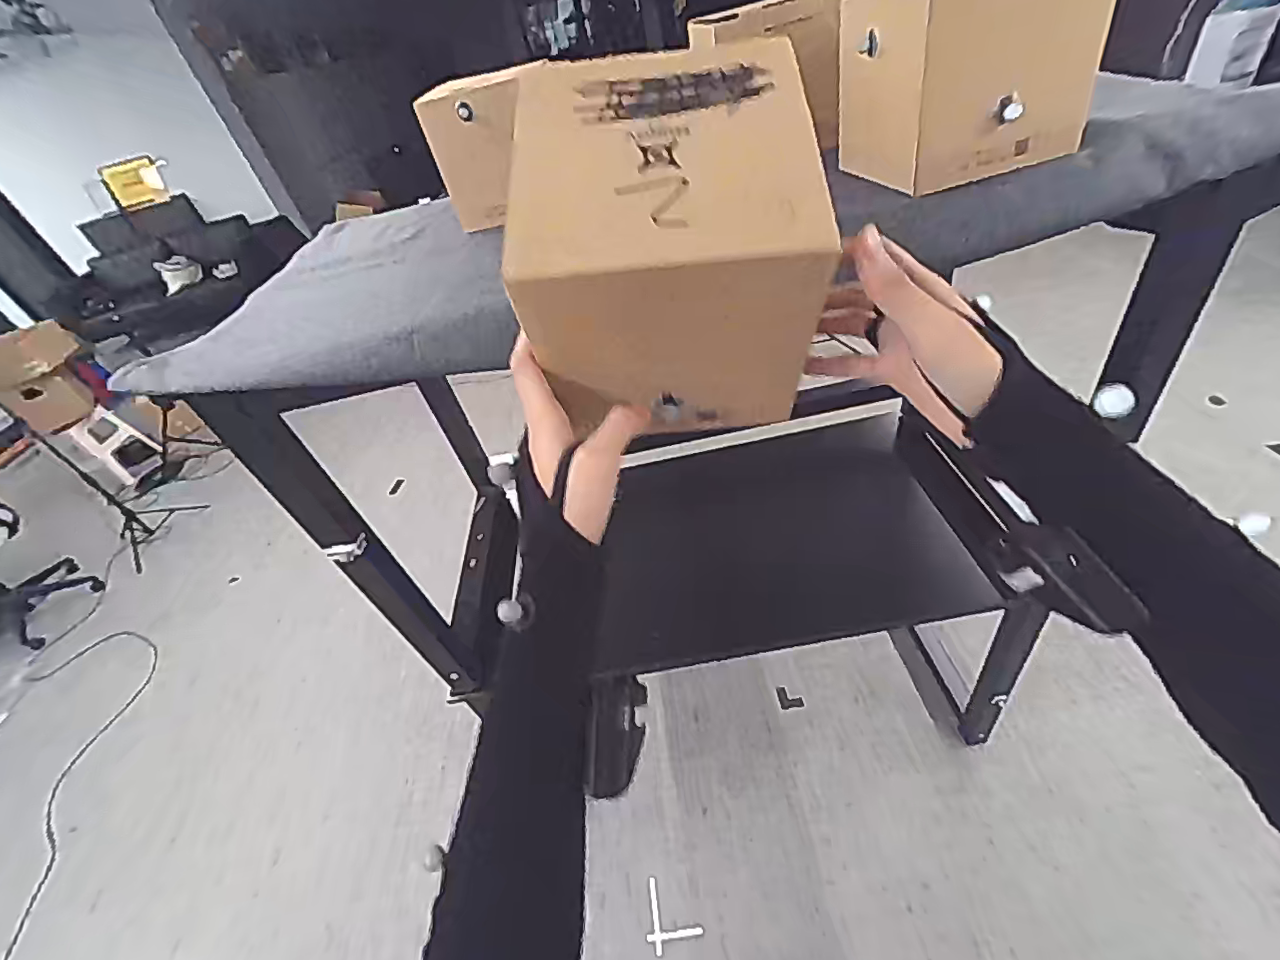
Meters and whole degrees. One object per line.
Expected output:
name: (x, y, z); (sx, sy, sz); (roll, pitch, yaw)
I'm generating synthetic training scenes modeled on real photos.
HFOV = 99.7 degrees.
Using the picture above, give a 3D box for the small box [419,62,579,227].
small box: (-0.194, -0.500, 0.811); (0.168, 0.176, 0.179); (-8, 41, 8)

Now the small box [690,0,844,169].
small box: (0.176, -0.556, 0.760); (0.168, 0.176, 0.179); (-13, 40, 3)

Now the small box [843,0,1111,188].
small box: (0.318, -0.414, 0.550); (0.168, 0.176, 0.179); (-15, 39, 1)
